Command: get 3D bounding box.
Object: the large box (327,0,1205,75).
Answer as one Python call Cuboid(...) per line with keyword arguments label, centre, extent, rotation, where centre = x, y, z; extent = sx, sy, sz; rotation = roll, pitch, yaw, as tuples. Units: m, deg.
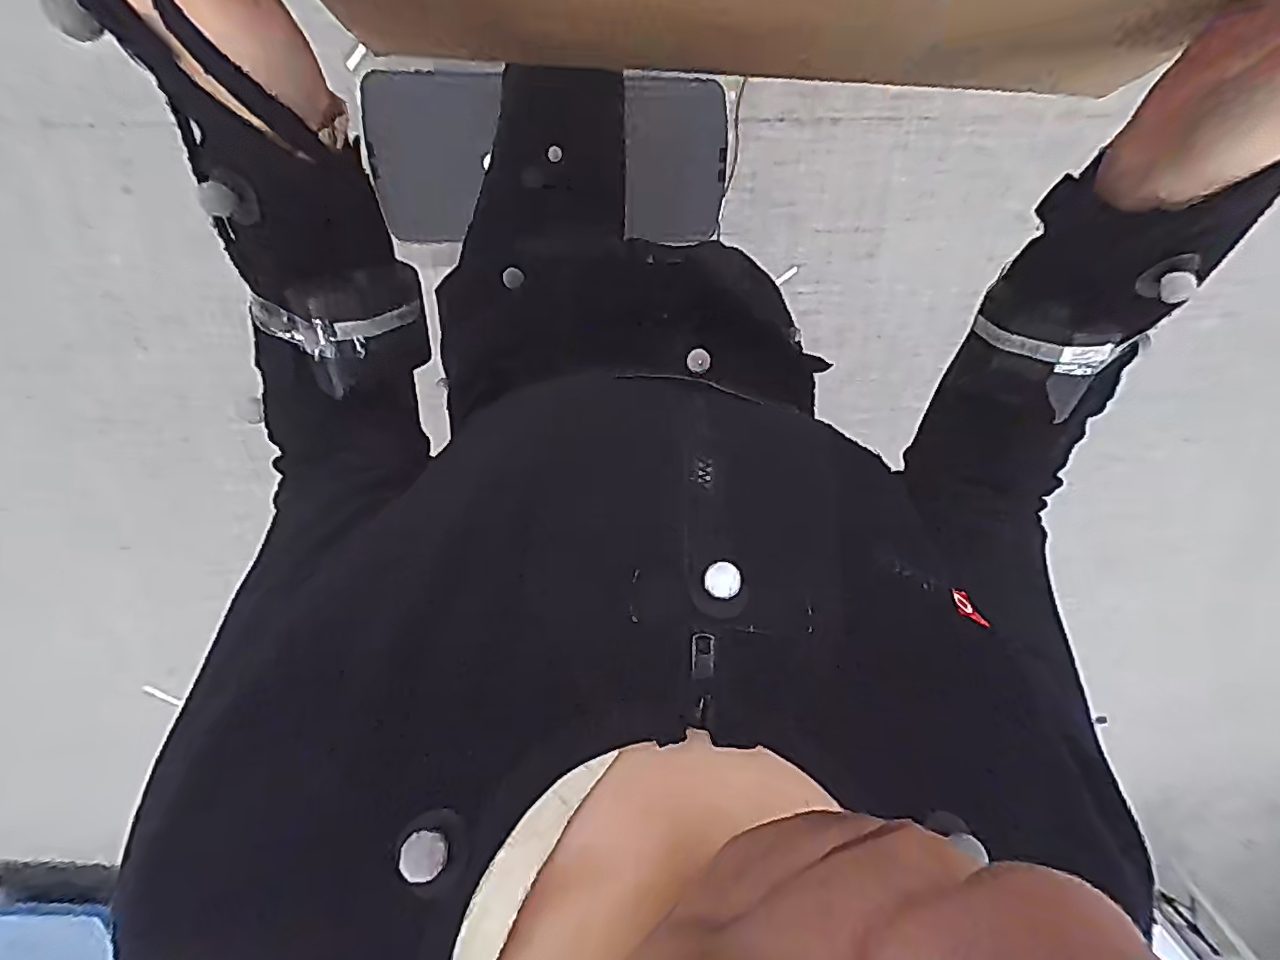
Cuboid(label="large box", centre=(0.048, -0.349, 0.123), extent=(0.408, 0.320, 0.320), rotation=(3, 103, 1))
